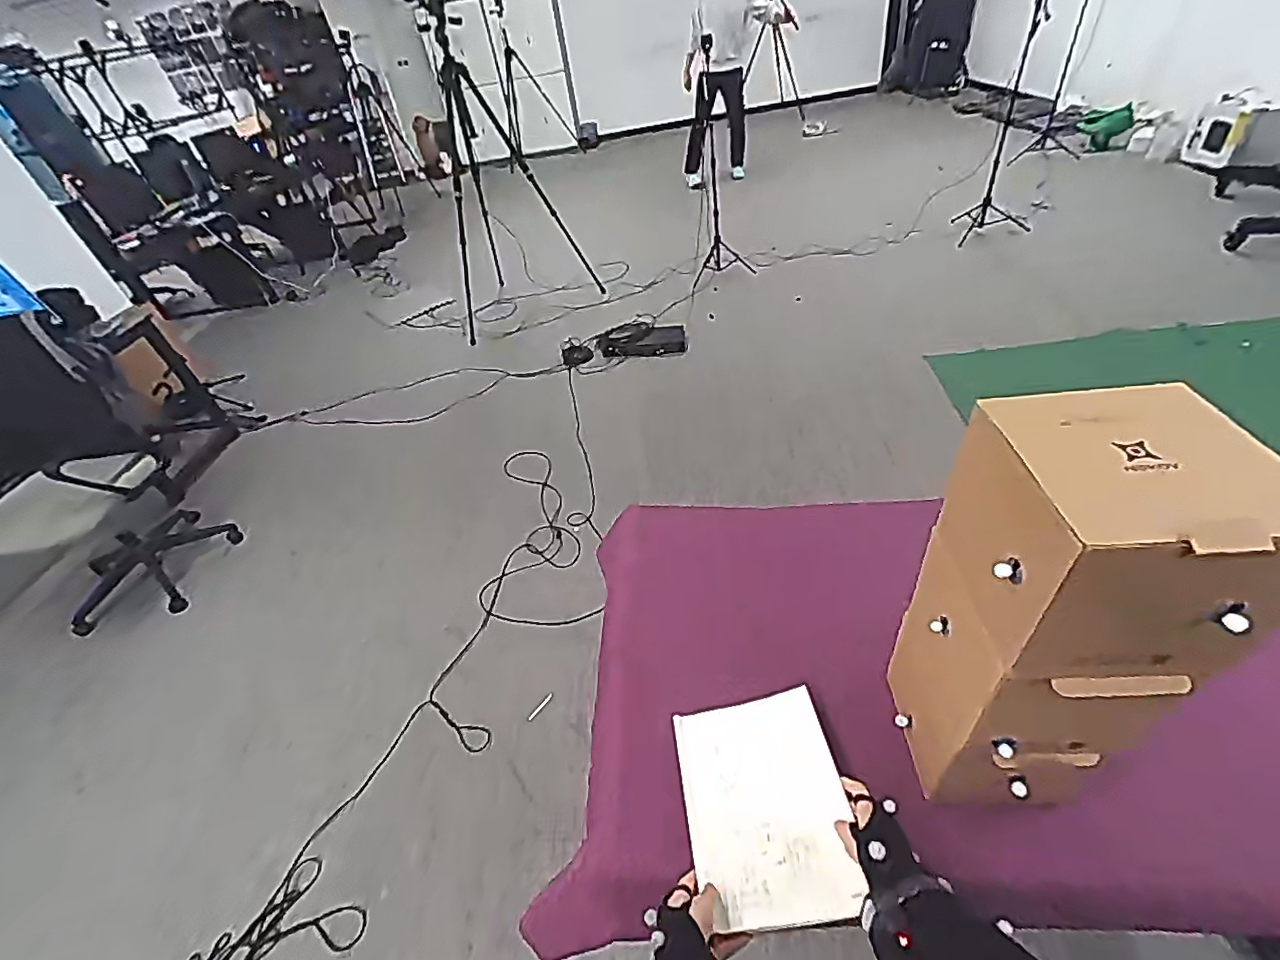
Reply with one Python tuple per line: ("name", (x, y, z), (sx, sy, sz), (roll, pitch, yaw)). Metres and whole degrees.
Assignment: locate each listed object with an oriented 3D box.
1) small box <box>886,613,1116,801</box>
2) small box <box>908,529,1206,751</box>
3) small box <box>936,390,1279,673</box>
("small box", (0.427, 0.284, 0.679), (0.168, 0.176, 0.179), (-4, 42, 7))
("small box", (0.402, 0.165, 0.567), (0.168, 0.176, 0.179), (-4, 40, 8))
("small box", (0.378, 0.047, 0.457), (0.168, 0.176, 0.179), (-3, 41, 8))
